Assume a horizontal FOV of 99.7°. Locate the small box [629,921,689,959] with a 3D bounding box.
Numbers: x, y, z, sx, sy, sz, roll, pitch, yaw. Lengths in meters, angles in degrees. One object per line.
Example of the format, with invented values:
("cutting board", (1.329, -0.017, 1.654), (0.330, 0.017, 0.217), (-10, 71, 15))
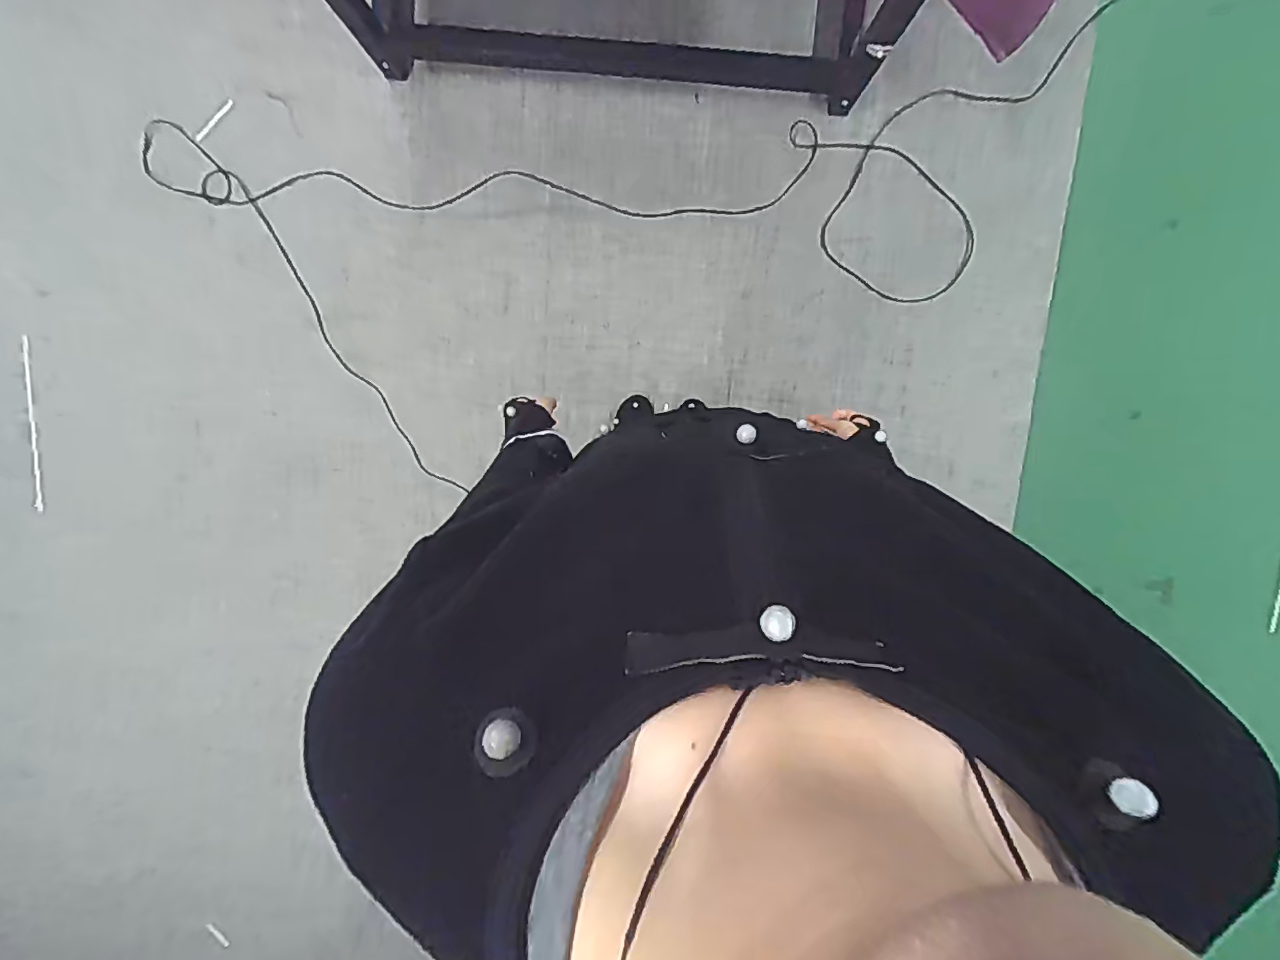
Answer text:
("small box", (0.055, 1.455, 1.605), (0.179, 0.176, 0.168), (-1, 98, -1))
